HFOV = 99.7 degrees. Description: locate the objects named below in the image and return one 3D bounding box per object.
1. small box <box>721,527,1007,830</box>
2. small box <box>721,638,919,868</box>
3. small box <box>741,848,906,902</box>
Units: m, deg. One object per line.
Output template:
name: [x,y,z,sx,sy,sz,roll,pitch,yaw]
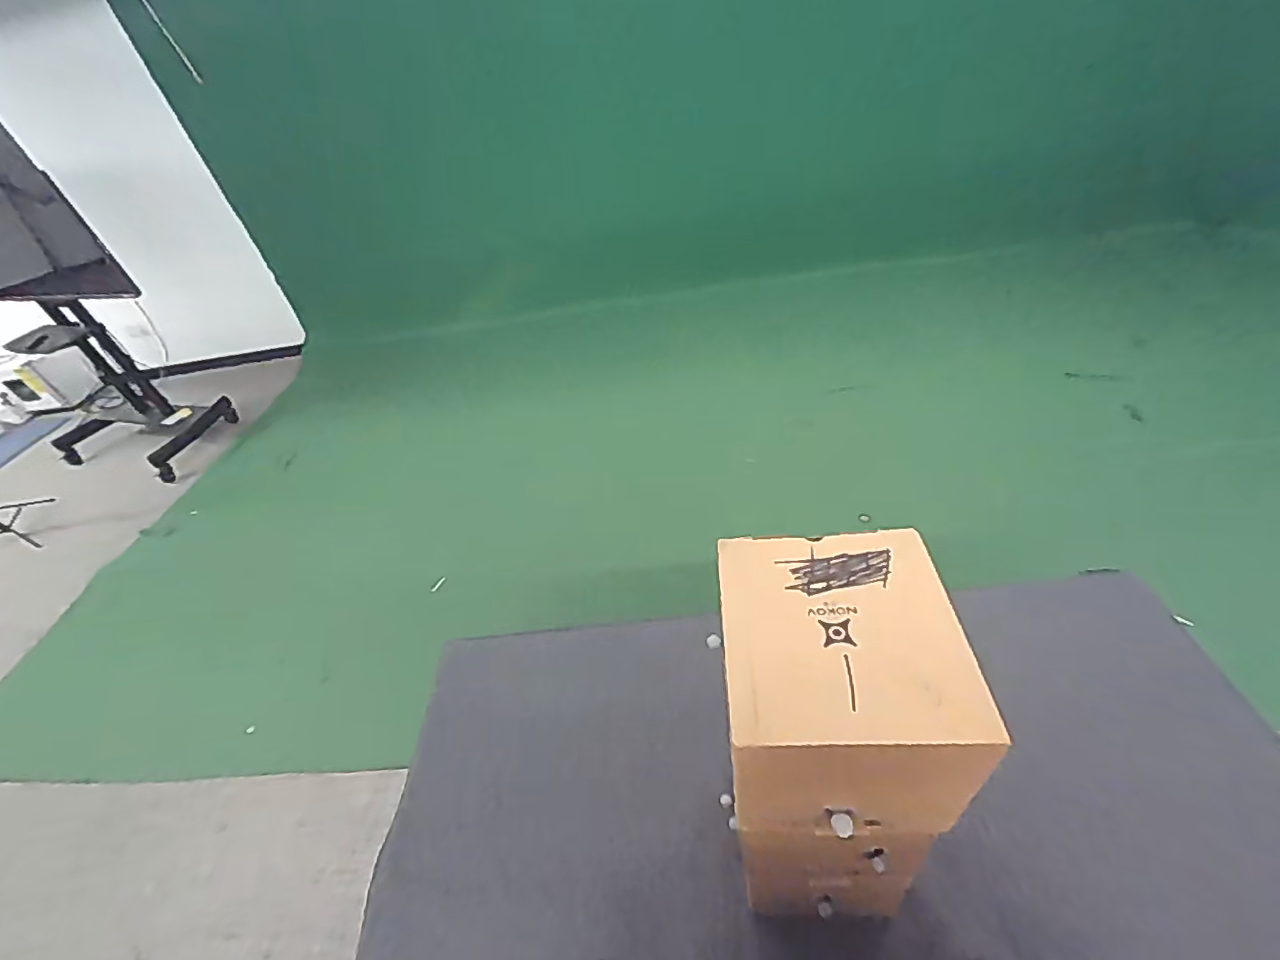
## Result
small box: [0.153,0.160,0.444,0.168,0.176,0.179,-4,43,8]
small box: [0.176,0.278,0.556,0.168,0.176,0.179,-5,41,7]
small box: [0.206,0.396,0.664,0.168,0.176,0.179,-5,42,8]
